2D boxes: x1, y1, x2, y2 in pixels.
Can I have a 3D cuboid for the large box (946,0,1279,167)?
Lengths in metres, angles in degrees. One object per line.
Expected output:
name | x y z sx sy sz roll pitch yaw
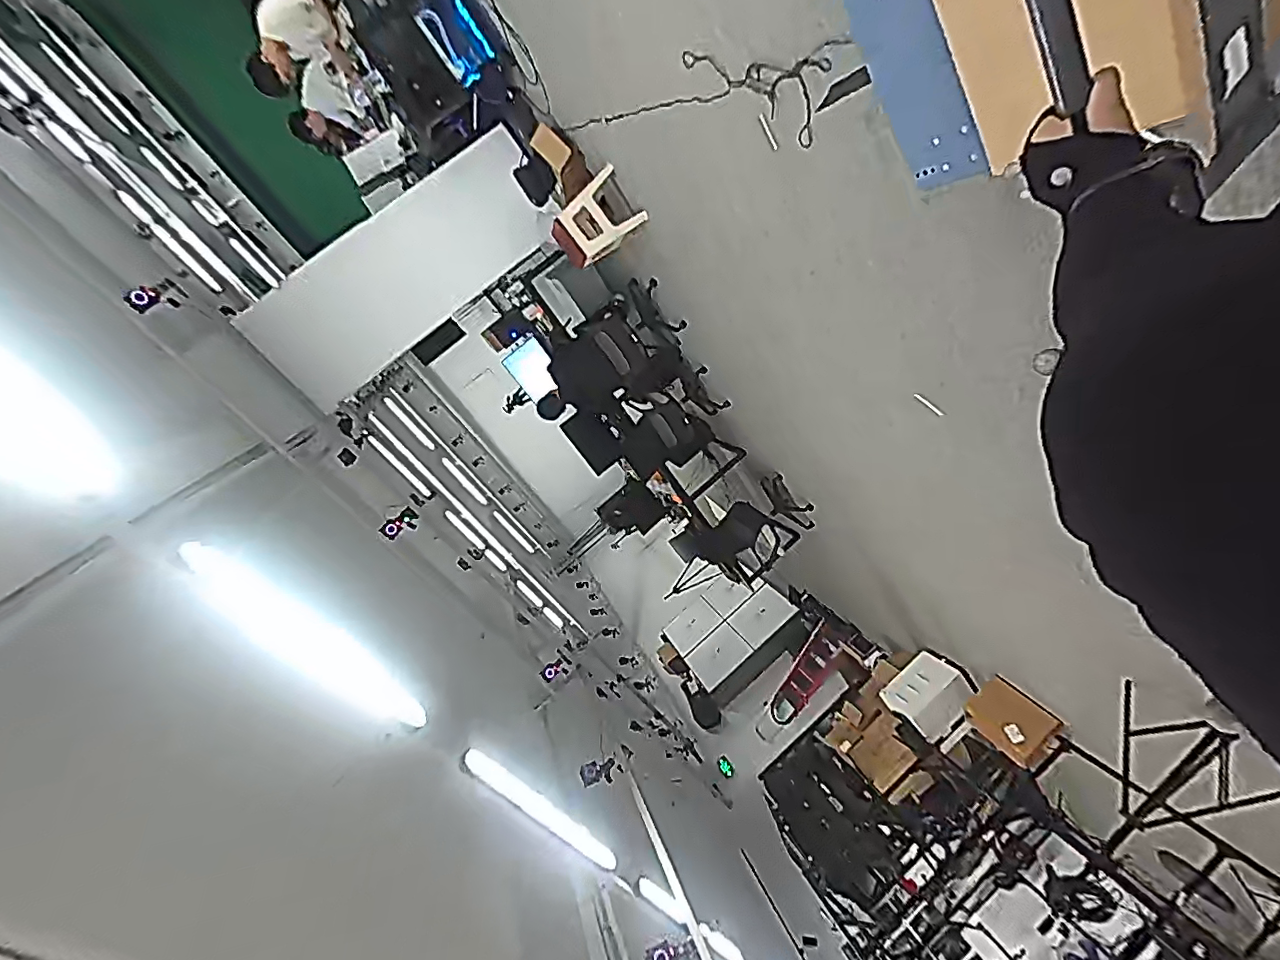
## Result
large box | 0.716 -0.775 0.792 0.408 0.320 0.320 52 173 -22
